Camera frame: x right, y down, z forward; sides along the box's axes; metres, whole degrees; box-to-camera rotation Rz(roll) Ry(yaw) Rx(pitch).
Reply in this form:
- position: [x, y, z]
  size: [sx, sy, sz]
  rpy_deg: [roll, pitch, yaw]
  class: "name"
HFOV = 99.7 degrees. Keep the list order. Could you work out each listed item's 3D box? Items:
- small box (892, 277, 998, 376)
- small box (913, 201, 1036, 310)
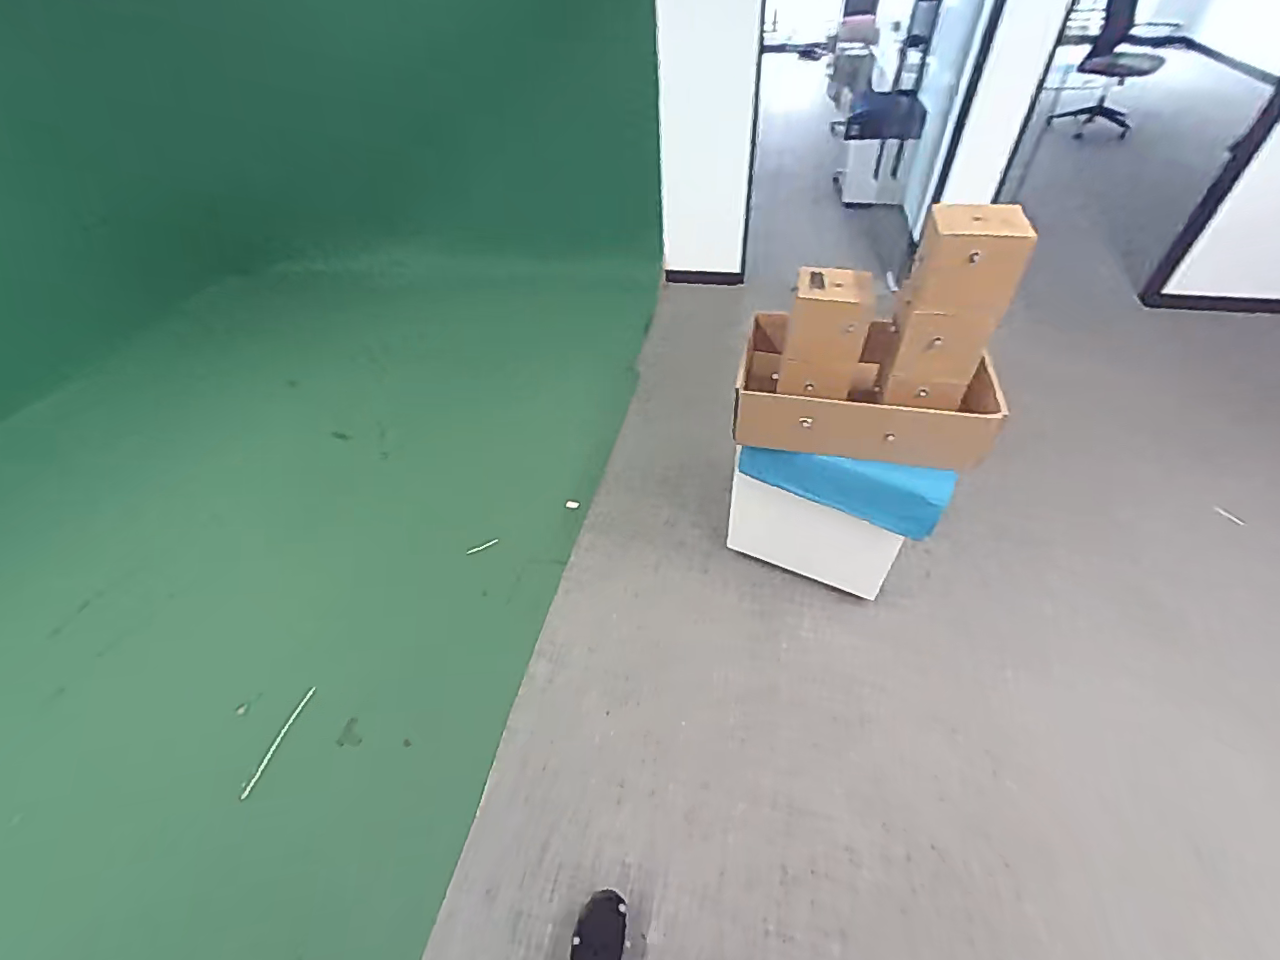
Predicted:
- position: [0.703, -0.361, 1.271]
  size: [0.179, 0.176, 0.168]
  rpy_deg: [6, 47, 13]
  class: "small box"
- position: [0.698, -0.479, 1.155]
  size: [0.179, 0.176, 0.168]
  rpy_deg: [8, 48, 13]
  class: "small box"
